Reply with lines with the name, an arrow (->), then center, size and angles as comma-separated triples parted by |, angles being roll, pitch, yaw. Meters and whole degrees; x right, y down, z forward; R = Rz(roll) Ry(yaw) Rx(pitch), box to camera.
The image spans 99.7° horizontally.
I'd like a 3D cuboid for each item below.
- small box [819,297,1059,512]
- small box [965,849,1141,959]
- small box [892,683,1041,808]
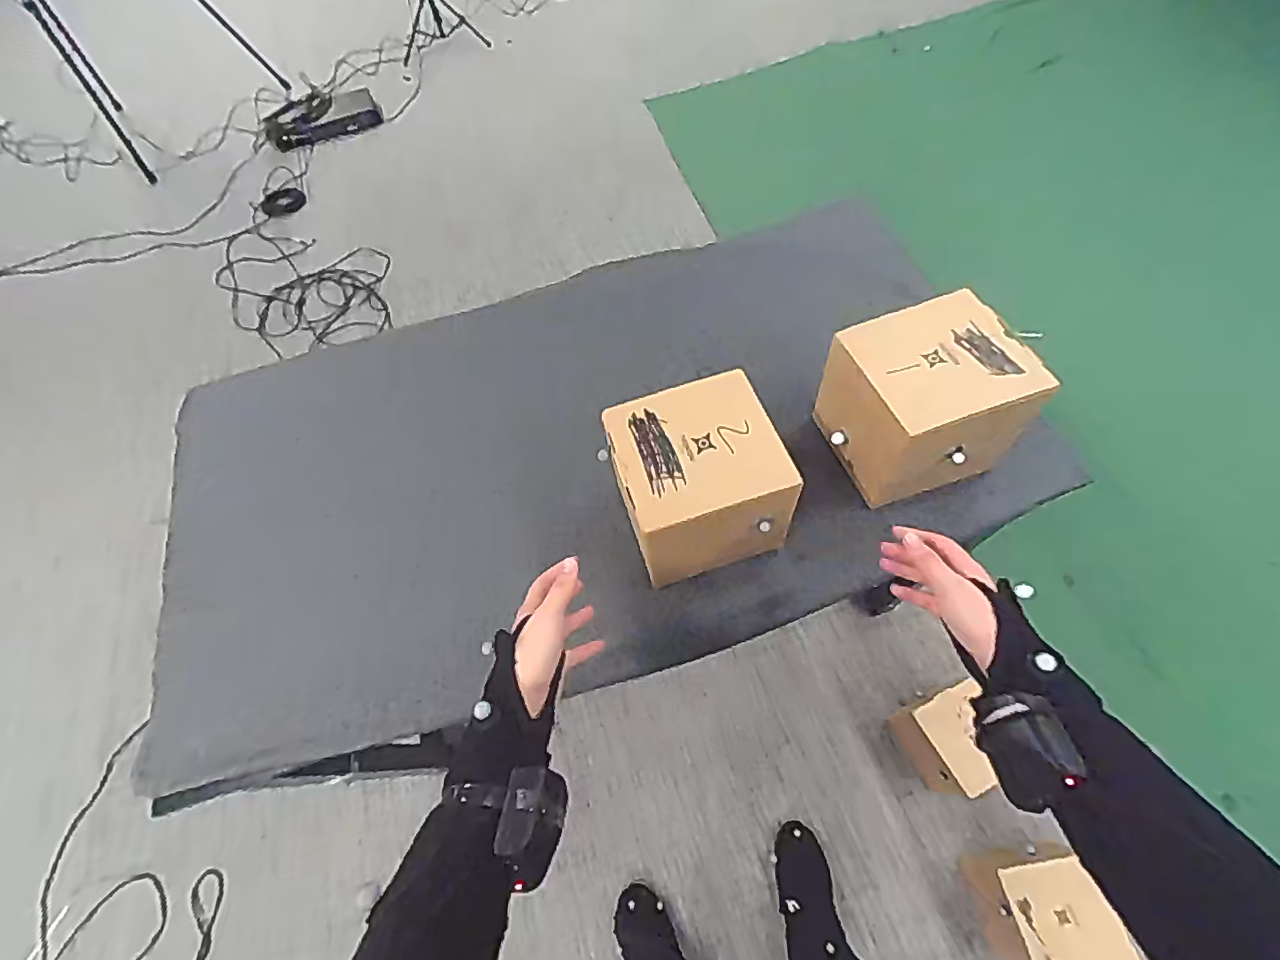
small box -> 0.345, -0.086, 0.668 | 0.179, 0.176, 0.168 | -19, 58, -2
small box -> 0.748, 0.802, 0.997 | 0.179, 0.176, 0.168 | -11, 63, 1
small box -> 0.669, 0.551, 1.134 | 0.168, 0.176, 0.179 | -26, 63, -8
